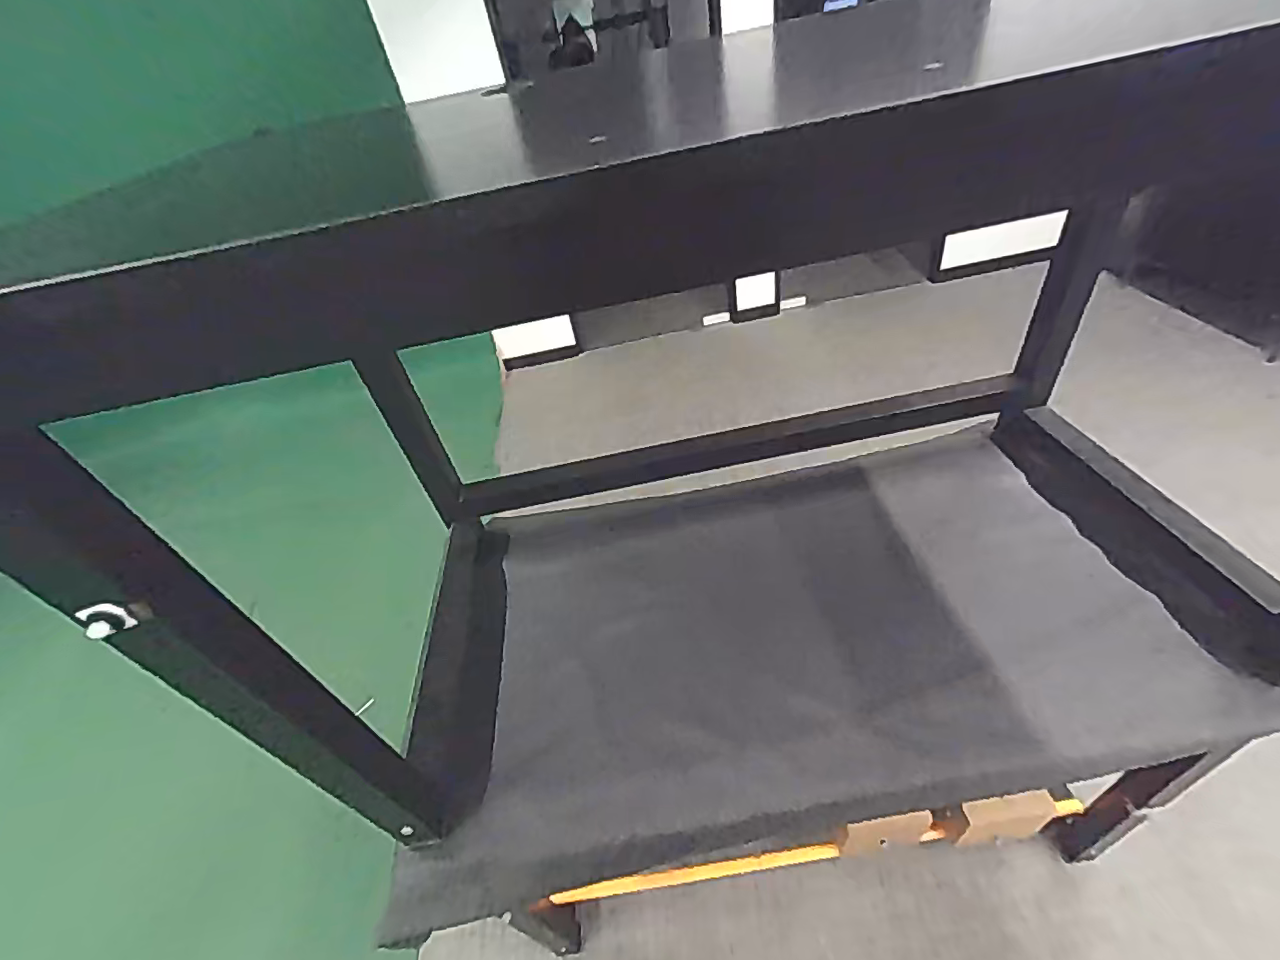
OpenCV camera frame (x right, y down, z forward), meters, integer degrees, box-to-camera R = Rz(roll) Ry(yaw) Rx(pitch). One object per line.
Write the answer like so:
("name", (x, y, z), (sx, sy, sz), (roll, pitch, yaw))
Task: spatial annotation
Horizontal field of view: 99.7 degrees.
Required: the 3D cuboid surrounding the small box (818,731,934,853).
("small box", (0.487, 0.664, 1.142), (0.168, 0.176, 0.179), (-12, 41, 2))
